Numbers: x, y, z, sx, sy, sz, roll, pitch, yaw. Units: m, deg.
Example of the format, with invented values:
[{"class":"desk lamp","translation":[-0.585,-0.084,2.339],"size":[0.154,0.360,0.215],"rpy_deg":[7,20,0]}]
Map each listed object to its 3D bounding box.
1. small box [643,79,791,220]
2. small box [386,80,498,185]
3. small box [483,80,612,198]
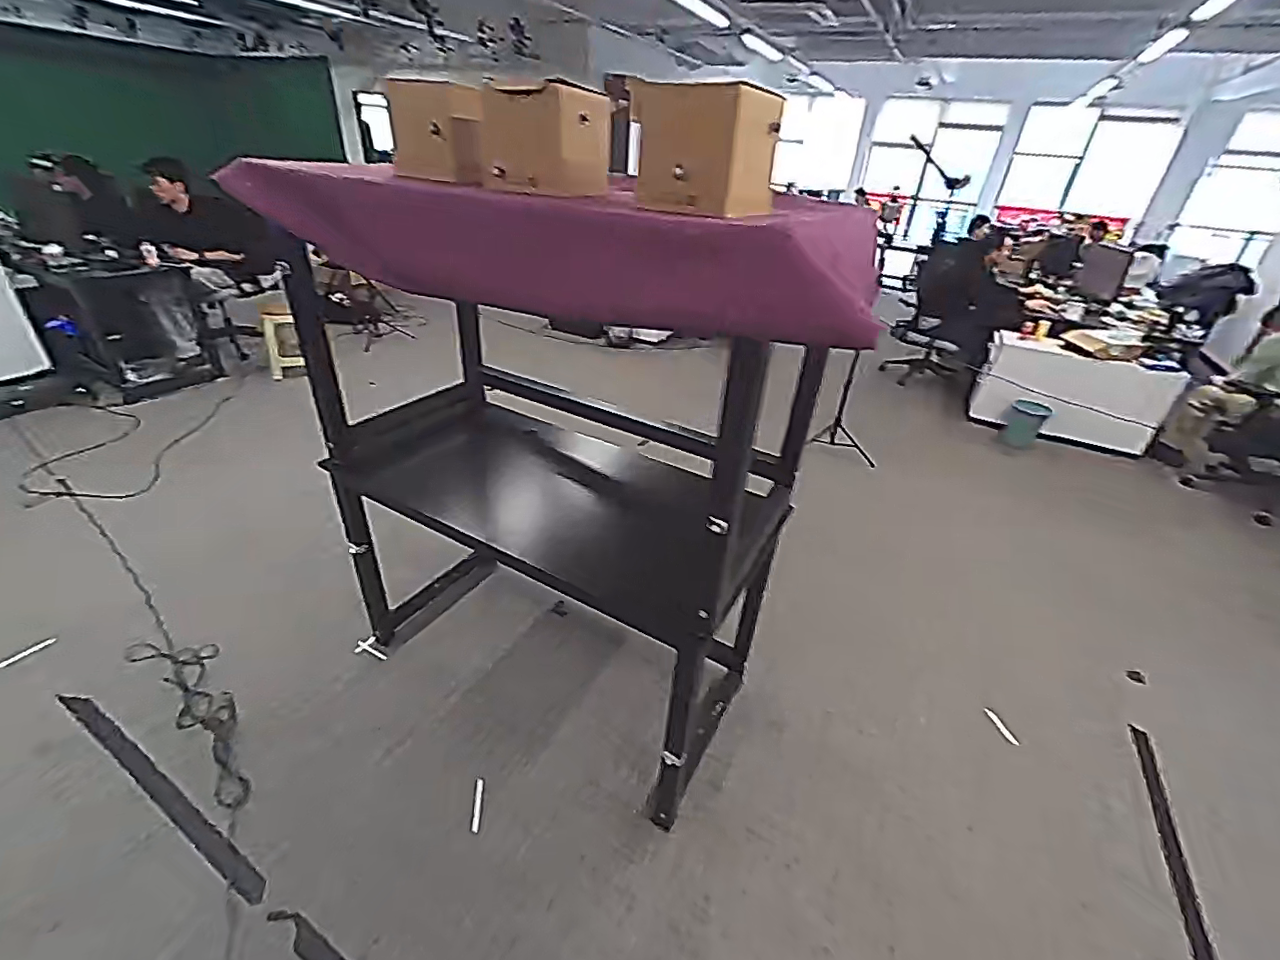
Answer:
[{"class":"small box","translation":[0.116,-0.513,0.850],"size":[0.168,0.176,0.179],"rpy_deg":[21,34,27]},{"class":"small box","translation":[-0.388,-0.713,1.120],"size":[0.179,0.176,0.168],"rpy_deg":[18,33,21]},{"class":"small box","translation":[-0.162,-0.621,0.996],"size":[0.168,0.176,0.179],"rpy_deg":[17,32,19]}]
